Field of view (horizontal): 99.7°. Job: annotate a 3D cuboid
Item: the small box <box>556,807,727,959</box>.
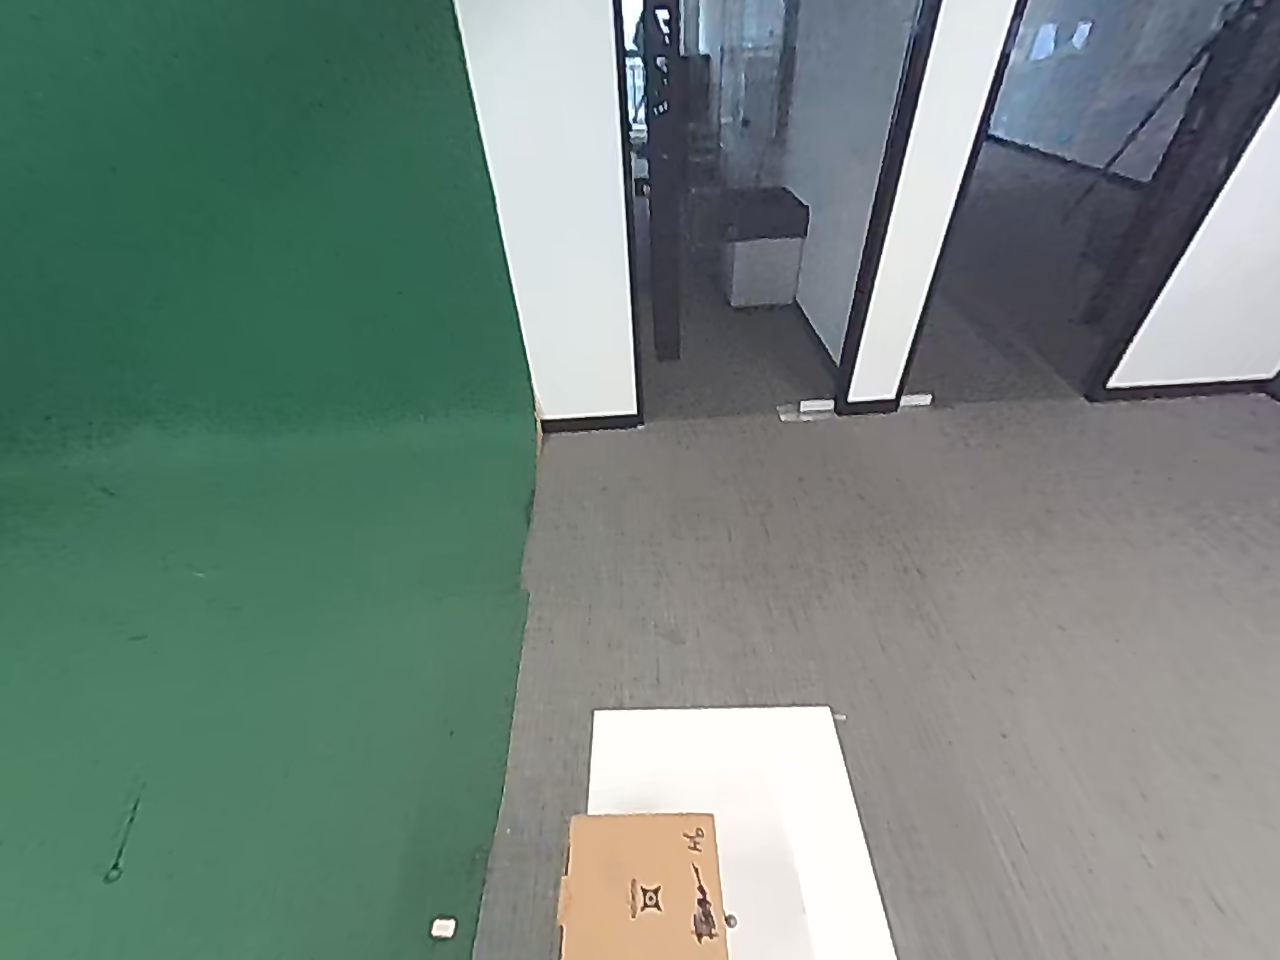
[{"bbox_3d":[0.005,0.511,0.643,0.179,0.176,0.168,-2,41,1],"label":"small box"}]
